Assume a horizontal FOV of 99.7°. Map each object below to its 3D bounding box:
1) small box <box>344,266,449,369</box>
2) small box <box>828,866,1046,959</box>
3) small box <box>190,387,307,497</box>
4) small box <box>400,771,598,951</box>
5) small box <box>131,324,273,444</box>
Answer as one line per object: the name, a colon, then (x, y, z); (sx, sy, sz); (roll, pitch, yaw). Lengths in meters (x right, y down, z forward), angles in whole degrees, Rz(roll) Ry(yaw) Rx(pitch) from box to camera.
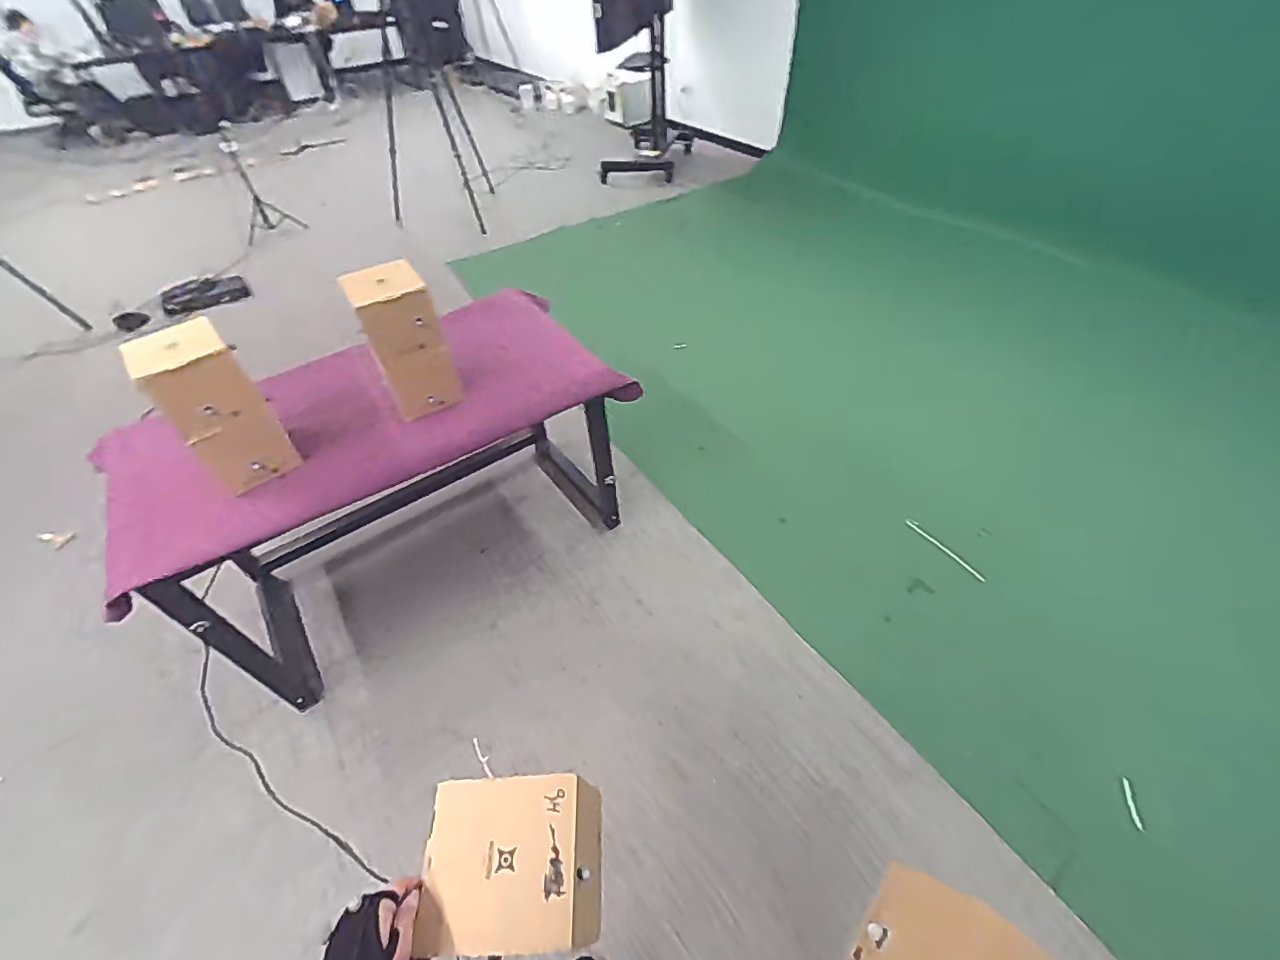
small box: (-0.593, -0.393, 1.328); (0.168, 0.176, 0.179); (-26, 51, -20)
small box: (0.315, 0.526, 0.532); (0.179, 0.176, 0.168); (37, 67, 11)
small box: (-0.936, -0.091, 1.290); (0.168, 0.176, 0.179); (-32, 53, -24)
small box: (-0.157, 0.471, 0.668); (0.179, 0.176, 0.168); (-6, 52, 5)
small box: (-0.944, -0.207, 1.175); (0.168, 0.176, 0.179); (-34, 54, -26)
